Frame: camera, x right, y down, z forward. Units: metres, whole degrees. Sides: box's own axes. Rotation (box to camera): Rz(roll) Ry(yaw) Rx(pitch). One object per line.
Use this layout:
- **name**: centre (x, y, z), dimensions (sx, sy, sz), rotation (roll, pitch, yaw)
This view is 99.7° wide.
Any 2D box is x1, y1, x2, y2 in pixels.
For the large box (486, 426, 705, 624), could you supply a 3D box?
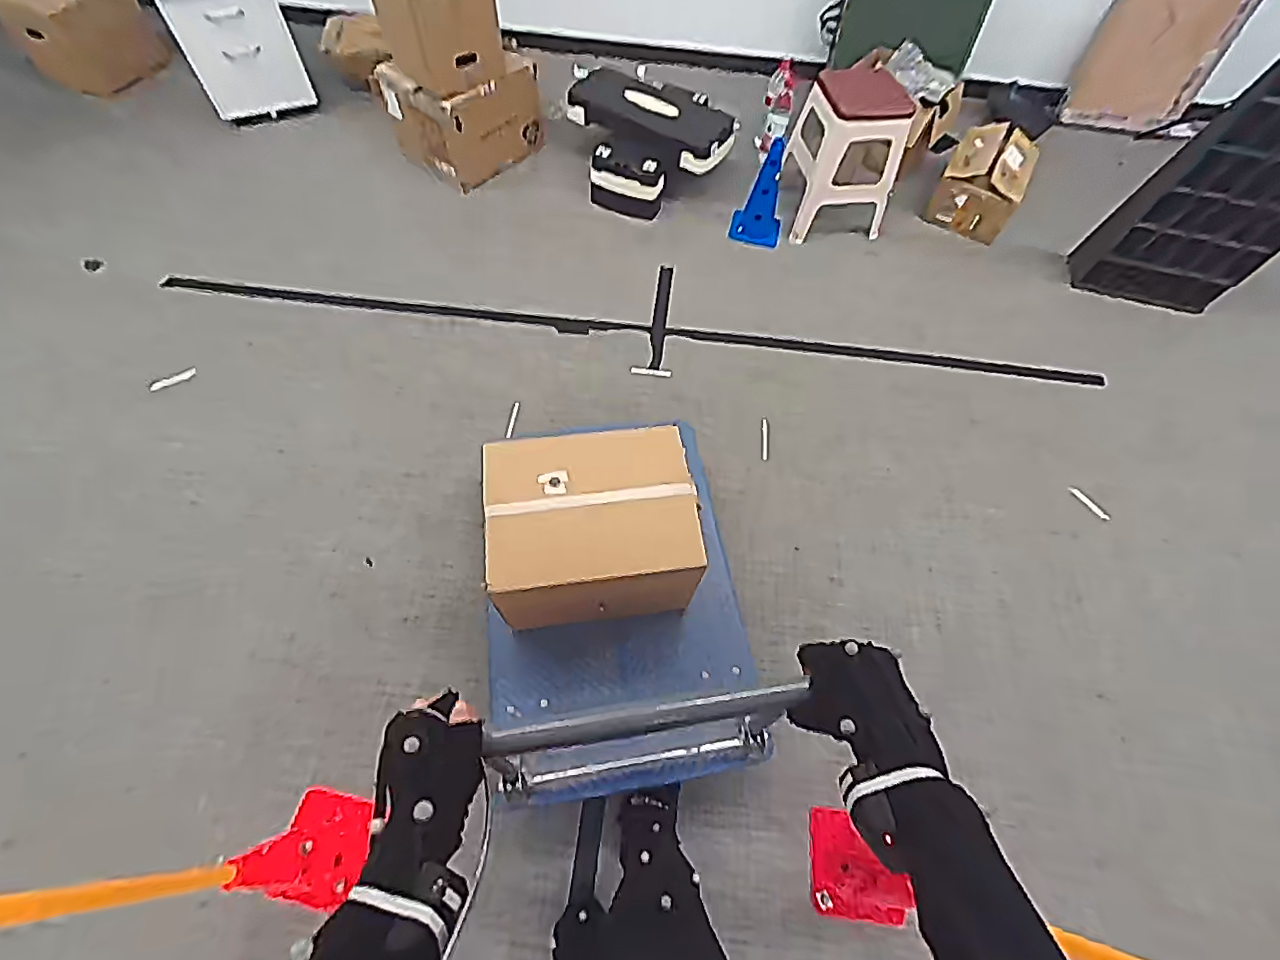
- **large box**: centre (-0.101, 0.108, 1.185), dimensions (0.408, 0.320, 0.320), rotation (-6, 63, -6)

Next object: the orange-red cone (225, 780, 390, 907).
- **orange-red cone**: centre (-0.647, 0.683, 1.001), dimensions (0.198, 0.360, 0.199), rotation (14, 60, 3)

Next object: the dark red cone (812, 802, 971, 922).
- **dark red cone**: centre (0.486, 0.739, 1.021), dimensions (0.201, 0.394, 0.202), rotation (8, 61, -1)
